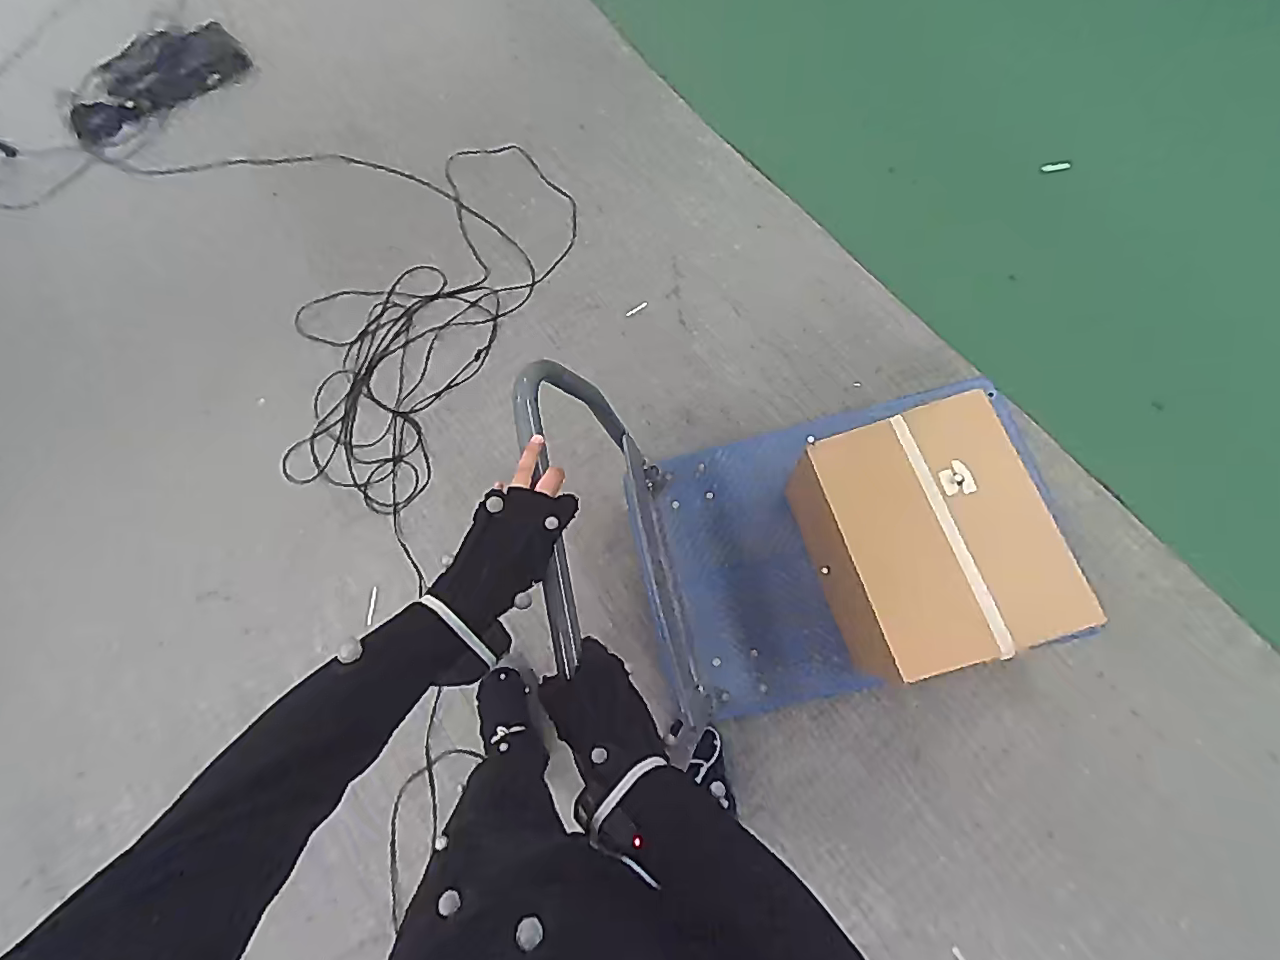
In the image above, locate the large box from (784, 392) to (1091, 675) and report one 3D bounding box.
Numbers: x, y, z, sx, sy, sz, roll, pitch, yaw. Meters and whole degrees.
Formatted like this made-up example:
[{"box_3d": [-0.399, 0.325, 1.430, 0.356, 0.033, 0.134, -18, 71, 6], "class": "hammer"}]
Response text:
[{"box_3d": [0.504, 0.113, 1.024, 0.320, 0.320, 0.408, -19, 72, 2], "class": "large box"}]
